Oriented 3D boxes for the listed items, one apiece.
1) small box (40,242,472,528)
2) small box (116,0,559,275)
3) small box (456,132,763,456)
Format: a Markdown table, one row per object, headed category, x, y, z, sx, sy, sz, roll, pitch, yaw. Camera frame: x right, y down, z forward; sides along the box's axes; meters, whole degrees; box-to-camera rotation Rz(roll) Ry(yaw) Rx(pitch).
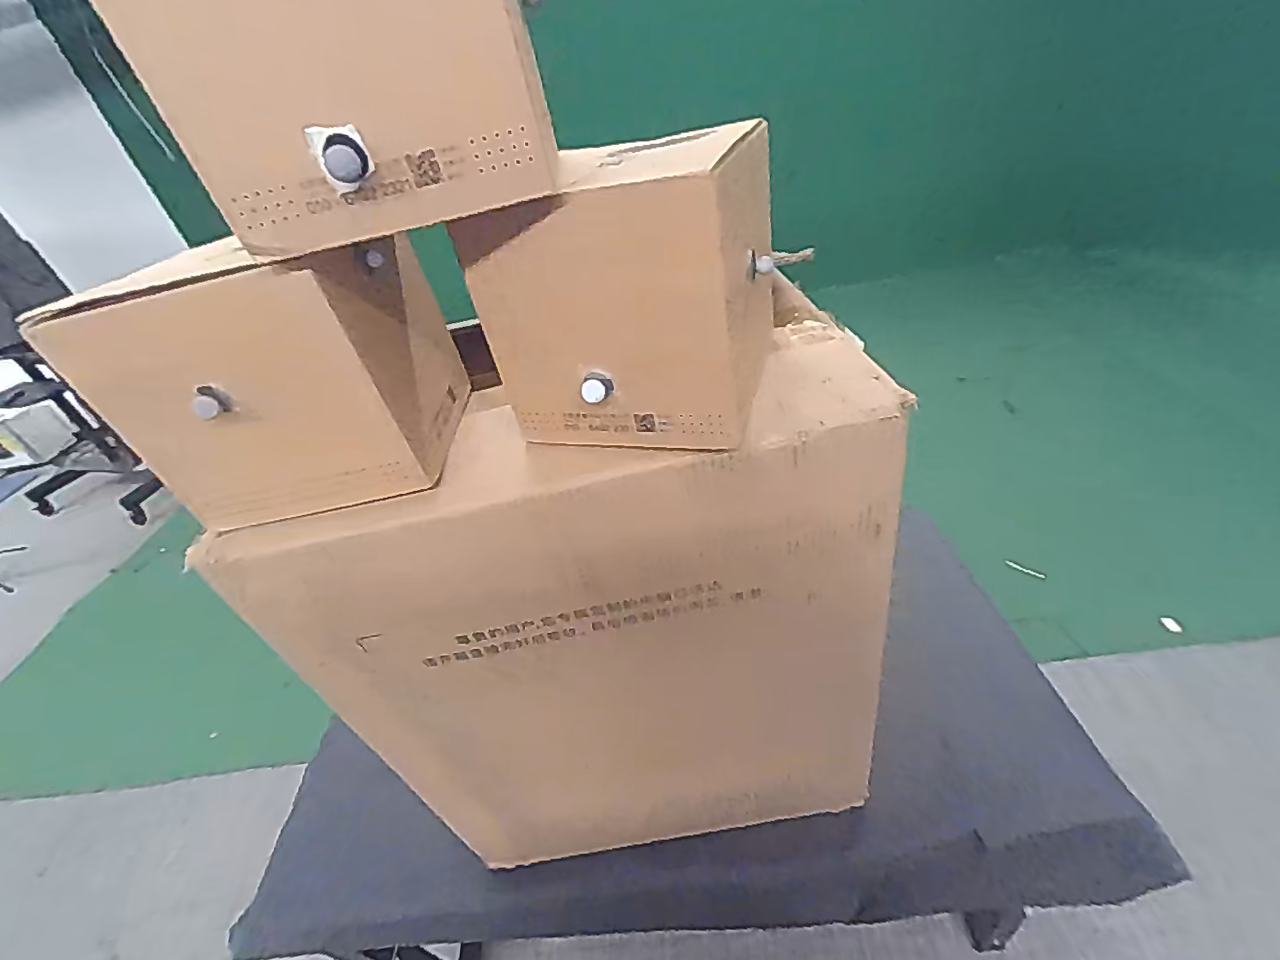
| category | x | y | z | sx | sy | sz | roll | pitch | yaw |
| --- | --- | --- | --- | --- | --- | --- | --- | --- | --- |
| small box | -0.257 | -0.084 | 0.420 | 0.179 | 0.176 | 0.168 | -13 | 37 | 4 |
| small box | -0.150 | -0.237 | 0.311 | 0.168 | 0.176 | 0.179 | -15 | 38 | 1 |
| small box | -0.003 | -0.138 | 0.405 | 0.168 | 0.176 | 0.179 | 3 | 40 | 21 |
